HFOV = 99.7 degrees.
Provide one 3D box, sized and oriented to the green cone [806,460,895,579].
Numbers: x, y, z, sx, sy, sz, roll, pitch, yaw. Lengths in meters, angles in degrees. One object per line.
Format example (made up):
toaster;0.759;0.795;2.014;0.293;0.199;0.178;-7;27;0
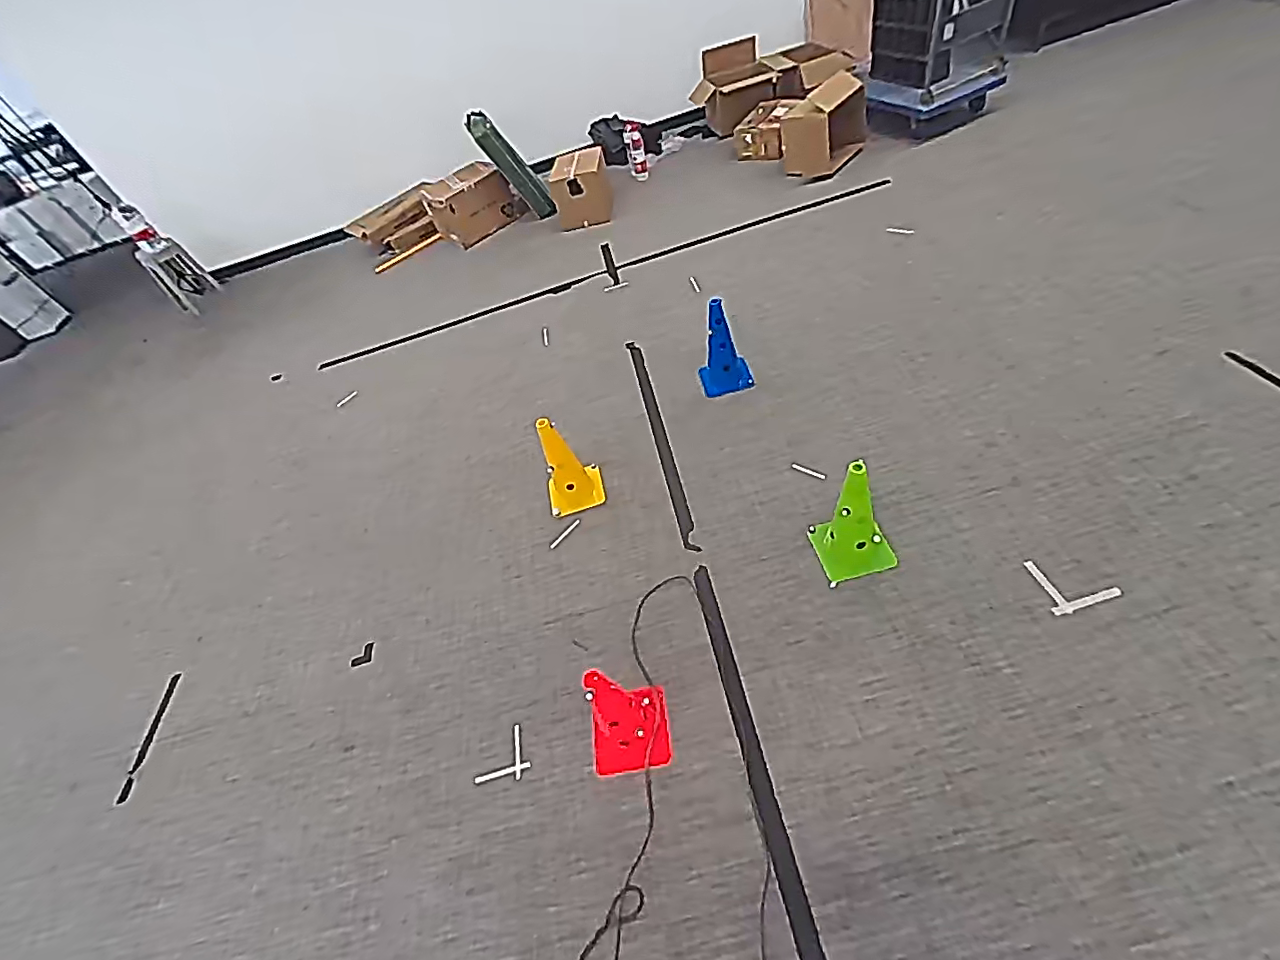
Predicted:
green cone;0.581;0.083;1.470;0.202;0.368;0.200;-16;47;2

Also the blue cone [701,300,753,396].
blue cone;0.319;-0.527;2.107;0.192;0.380;0.193;-13;48;5

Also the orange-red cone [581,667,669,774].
orange-red cone;-0.070;0.536;1.283;0.199;0.360;0.198;-14;46;7
